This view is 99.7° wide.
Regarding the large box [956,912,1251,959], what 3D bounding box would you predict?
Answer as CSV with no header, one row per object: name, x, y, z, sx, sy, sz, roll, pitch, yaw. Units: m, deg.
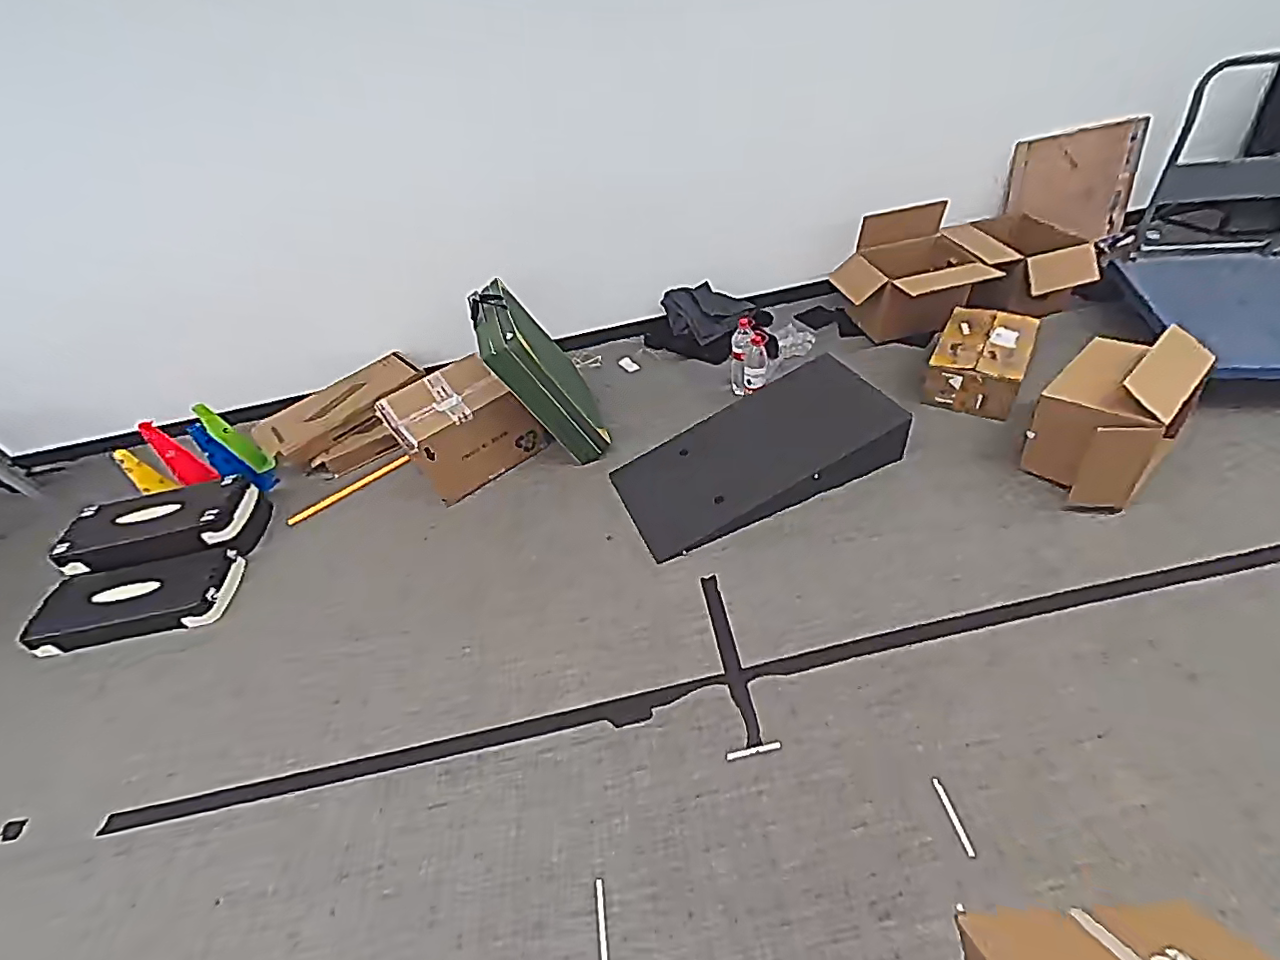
large box,0.598,0.724,0.542,0.320,0.408,0.320,-6,76,6
